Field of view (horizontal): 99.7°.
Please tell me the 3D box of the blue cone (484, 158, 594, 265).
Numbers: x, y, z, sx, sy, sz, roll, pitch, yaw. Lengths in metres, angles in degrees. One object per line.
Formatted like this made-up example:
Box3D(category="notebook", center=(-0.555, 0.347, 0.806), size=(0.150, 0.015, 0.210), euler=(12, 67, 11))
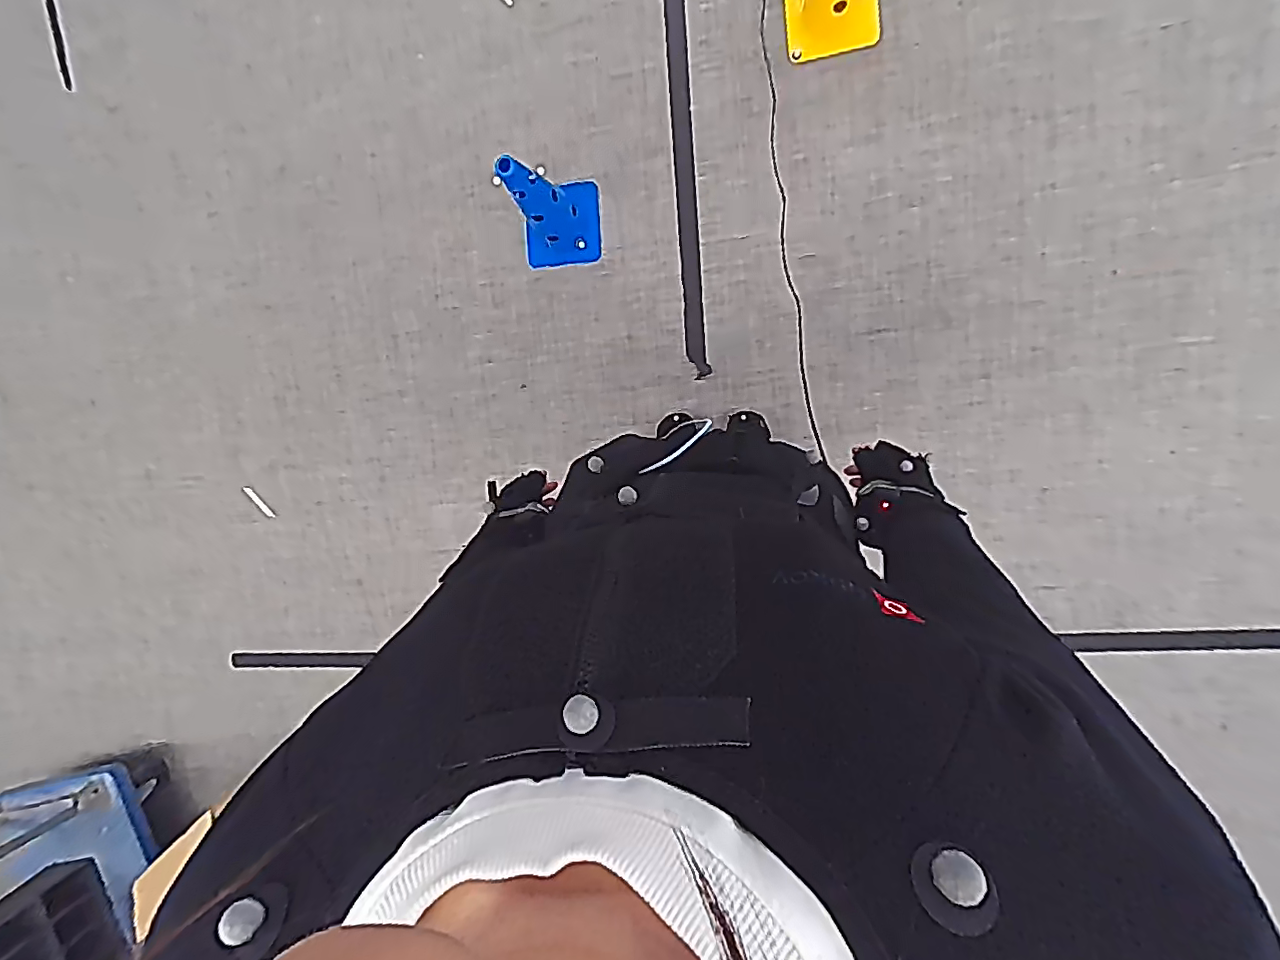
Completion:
Box3D(category="blue cone", center=(-0.244, -0.643, 1.244), size=(0.192, 0.380, 0.193), euler=(1, 97, 12))
